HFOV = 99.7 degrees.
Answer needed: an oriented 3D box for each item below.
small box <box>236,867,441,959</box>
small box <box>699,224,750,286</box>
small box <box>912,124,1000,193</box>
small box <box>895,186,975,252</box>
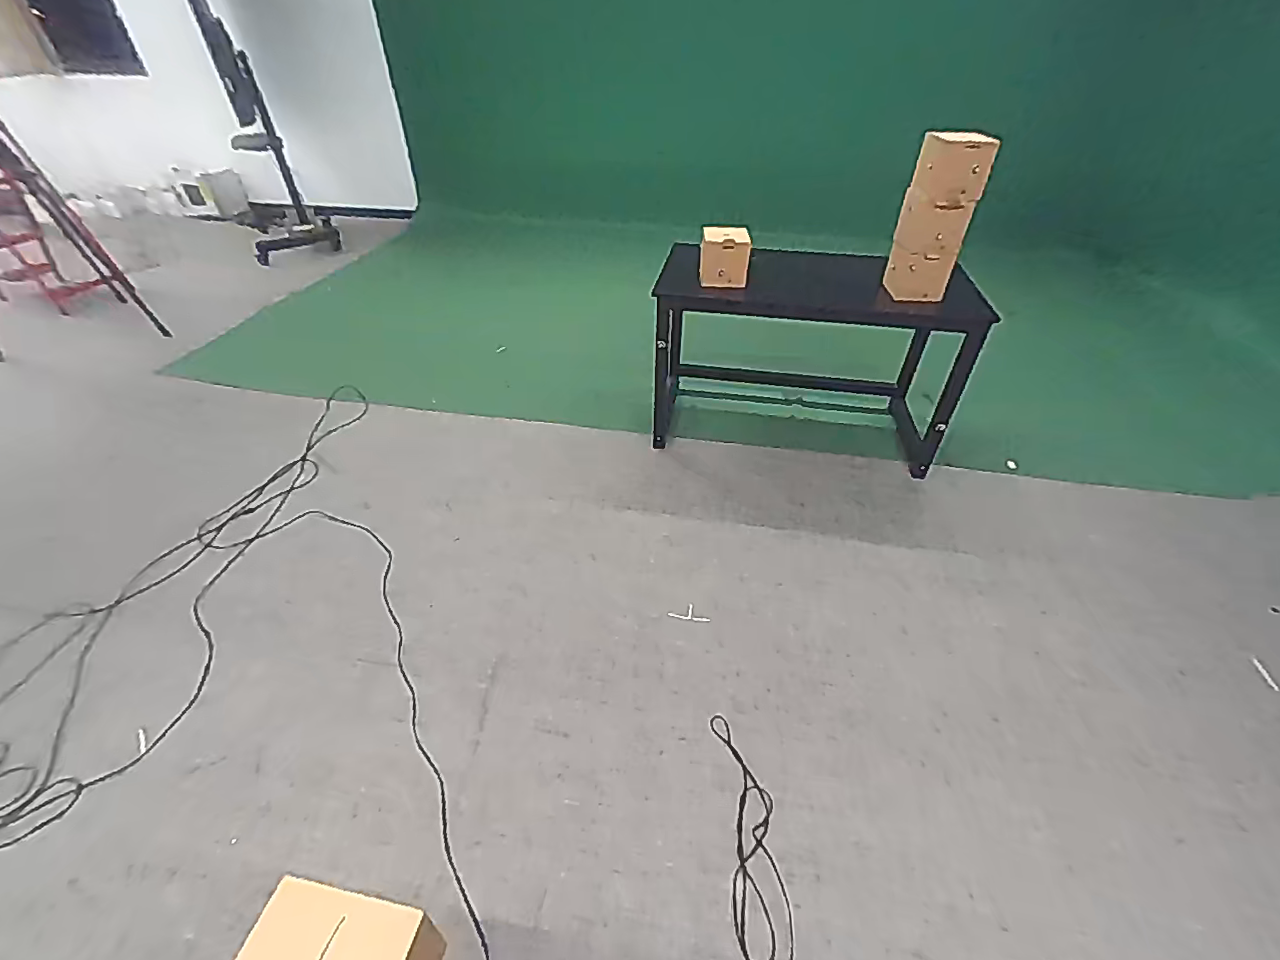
[{"bbox_3d":[-0.332,0.560,0.579,0.168,0.176,0.179,11,39,5],"label":"small box"},{"bbox_3d":[0.317,-0.855,2.055,0.168,0.176,0.179,2,42,1],"label":"small box"},{"bbox_3d":[1.007,-1.033,1.736,0.168,0.176,0.179,2,39,2],"label":"small box"},{"bbox_3d":[1.000,-0.896,1.853,0.168,0.176,0.179,2,40,2],"label":"small box"}]
